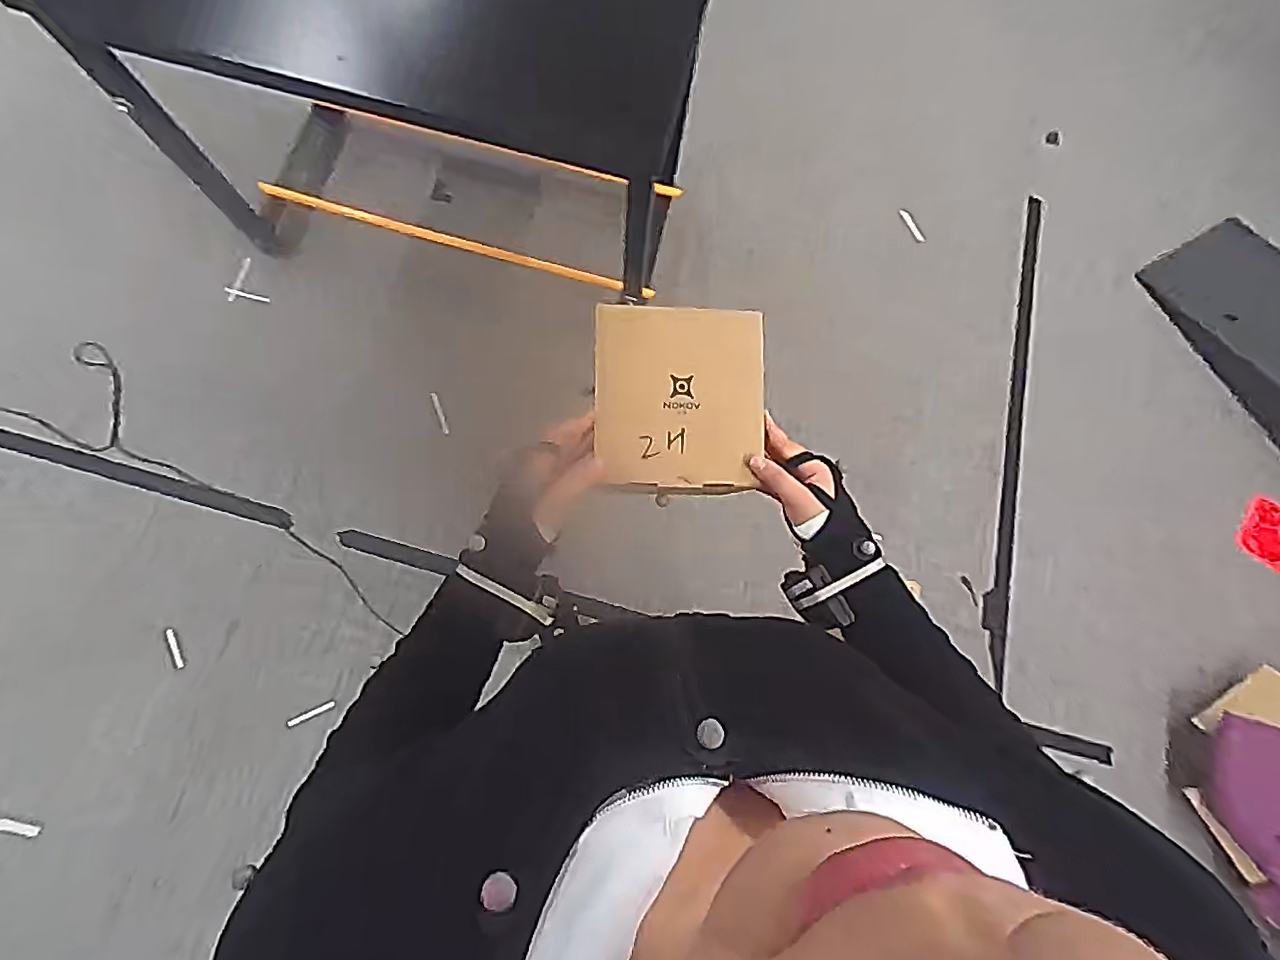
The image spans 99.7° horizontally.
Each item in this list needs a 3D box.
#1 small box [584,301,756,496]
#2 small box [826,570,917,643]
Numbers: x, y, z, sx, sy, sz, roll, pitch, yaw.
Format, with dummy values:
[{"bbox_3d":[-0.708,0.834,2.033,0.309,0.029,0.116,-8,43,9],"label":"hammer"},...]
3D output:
[{"bbox_3d":[0.023,-0.076,0.599,0.168,0.176,0.179,1,85,-6],"label":"small box"},{"bbox_3d":[0.618,0.342,1.458,0.179,0.176,0.168,8,77,-1],"label":"small box"}]
